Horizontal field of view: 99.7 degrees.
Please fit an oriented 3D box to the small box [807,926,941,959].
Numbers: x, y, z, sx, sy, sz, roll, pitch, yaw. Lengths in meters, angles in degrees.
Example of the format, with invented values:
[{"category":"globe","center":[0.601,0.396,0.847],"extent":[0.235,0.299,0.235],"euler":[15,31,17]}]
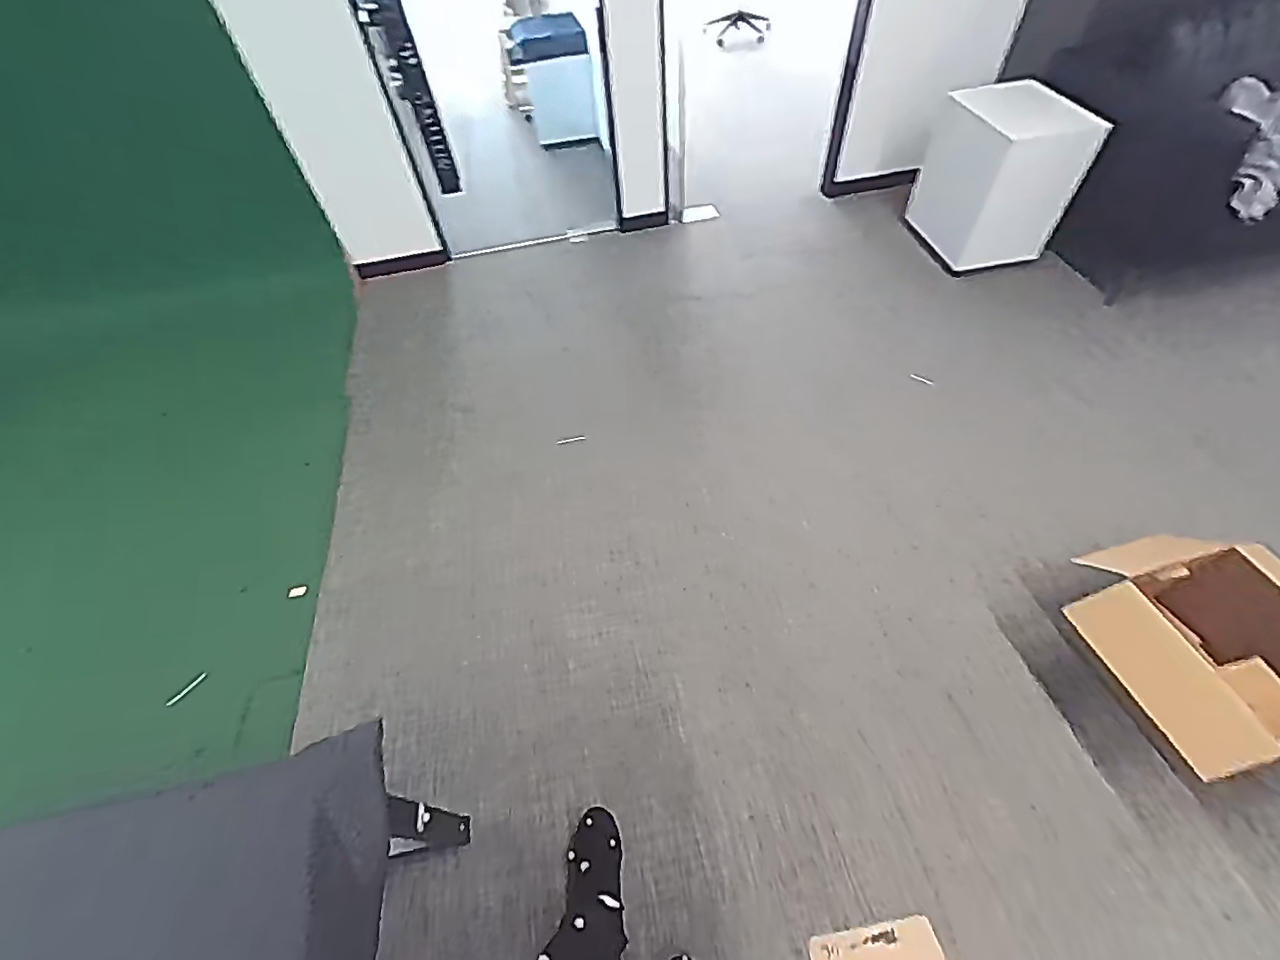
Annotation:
[{"category":"small box","center":[0.319,0.701,0.648],"extent":[0.168,0.179,0.176],"euler":[-18,87,8]}]
